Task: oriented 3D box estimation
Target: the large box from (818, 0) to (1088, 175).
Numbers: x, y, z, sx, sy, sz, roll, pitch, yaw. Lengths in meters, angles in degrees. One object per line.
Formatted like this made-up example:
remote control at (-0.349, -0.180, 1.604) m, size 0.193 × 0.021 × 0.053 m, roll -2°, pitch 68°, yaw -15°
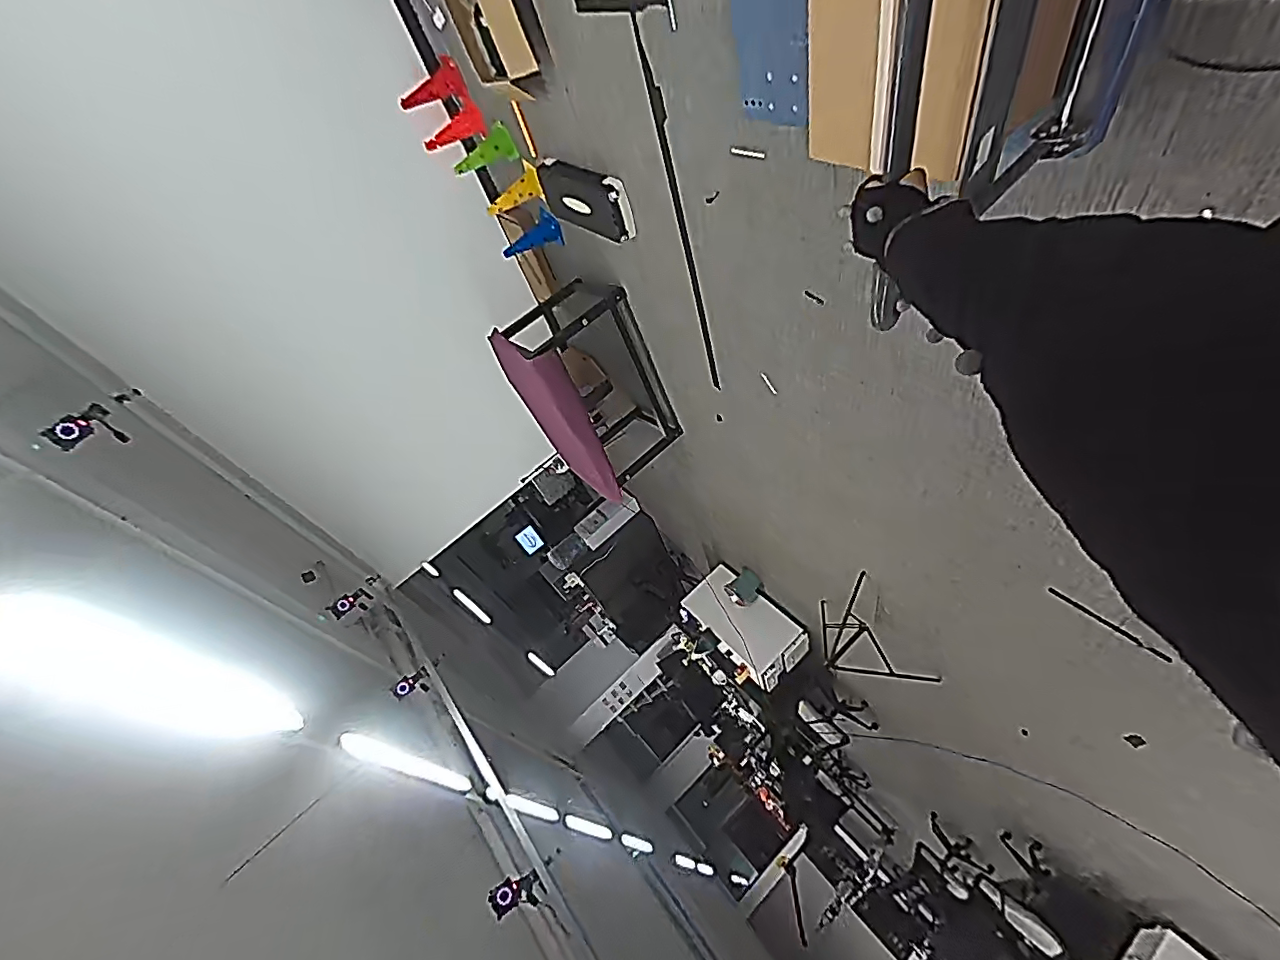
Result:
large box at (0.524, -0.804, 0.906) m, size 0.320 × 0.320 × 0.408 m, roll 37°, pitch 160°, yaw 37°
